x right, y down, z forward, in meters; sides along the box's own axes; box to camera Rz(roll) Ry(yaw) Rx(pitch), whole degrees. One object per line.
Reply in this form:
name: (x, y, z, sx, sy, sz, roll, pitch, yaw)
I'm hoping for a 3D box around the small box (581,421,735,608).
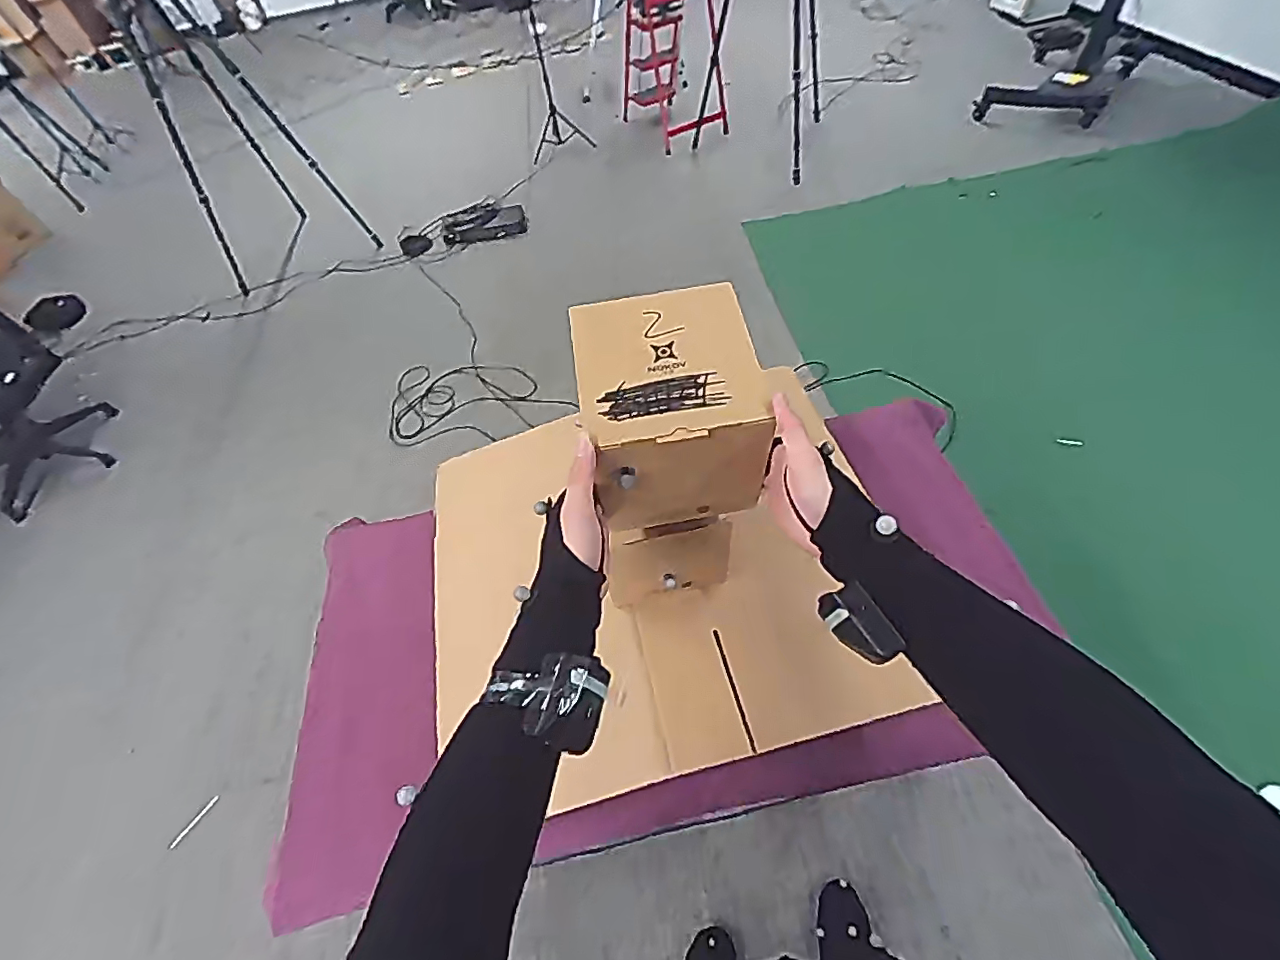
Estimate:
small box: (0.022, 0.050, 0.740, 0.168, 0.176, 0.179, -13, 54, -3)
